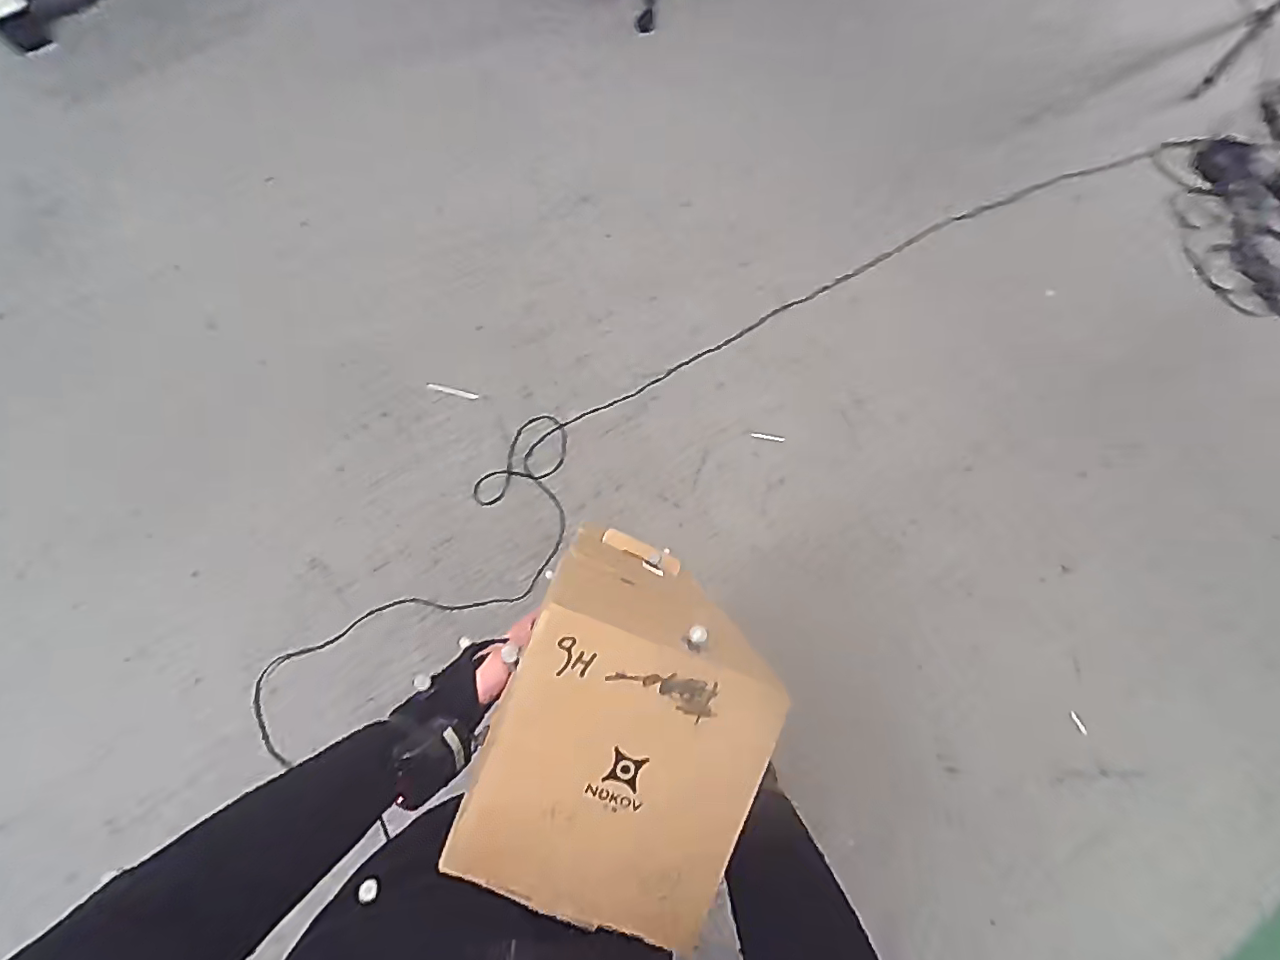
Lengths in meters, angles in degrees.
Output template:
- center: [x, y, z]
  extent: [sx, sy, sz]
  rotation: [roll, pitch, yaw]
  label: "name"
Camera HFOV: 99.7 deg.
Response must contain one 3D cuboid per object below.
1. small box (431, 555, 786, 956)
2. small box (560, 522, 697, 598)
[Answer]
- center: [-0.022, 0.174, 0.397]
  extent: [0.168, 0.176, 0.179]
  rotation: [21, 91, -5]
  label: "small box"
- center: [-0.045, 0.166, 0.721]
  extent: [0.168, 0.176, 0.179]
  rotation: [24, 89, -4]
  label: "small box"
